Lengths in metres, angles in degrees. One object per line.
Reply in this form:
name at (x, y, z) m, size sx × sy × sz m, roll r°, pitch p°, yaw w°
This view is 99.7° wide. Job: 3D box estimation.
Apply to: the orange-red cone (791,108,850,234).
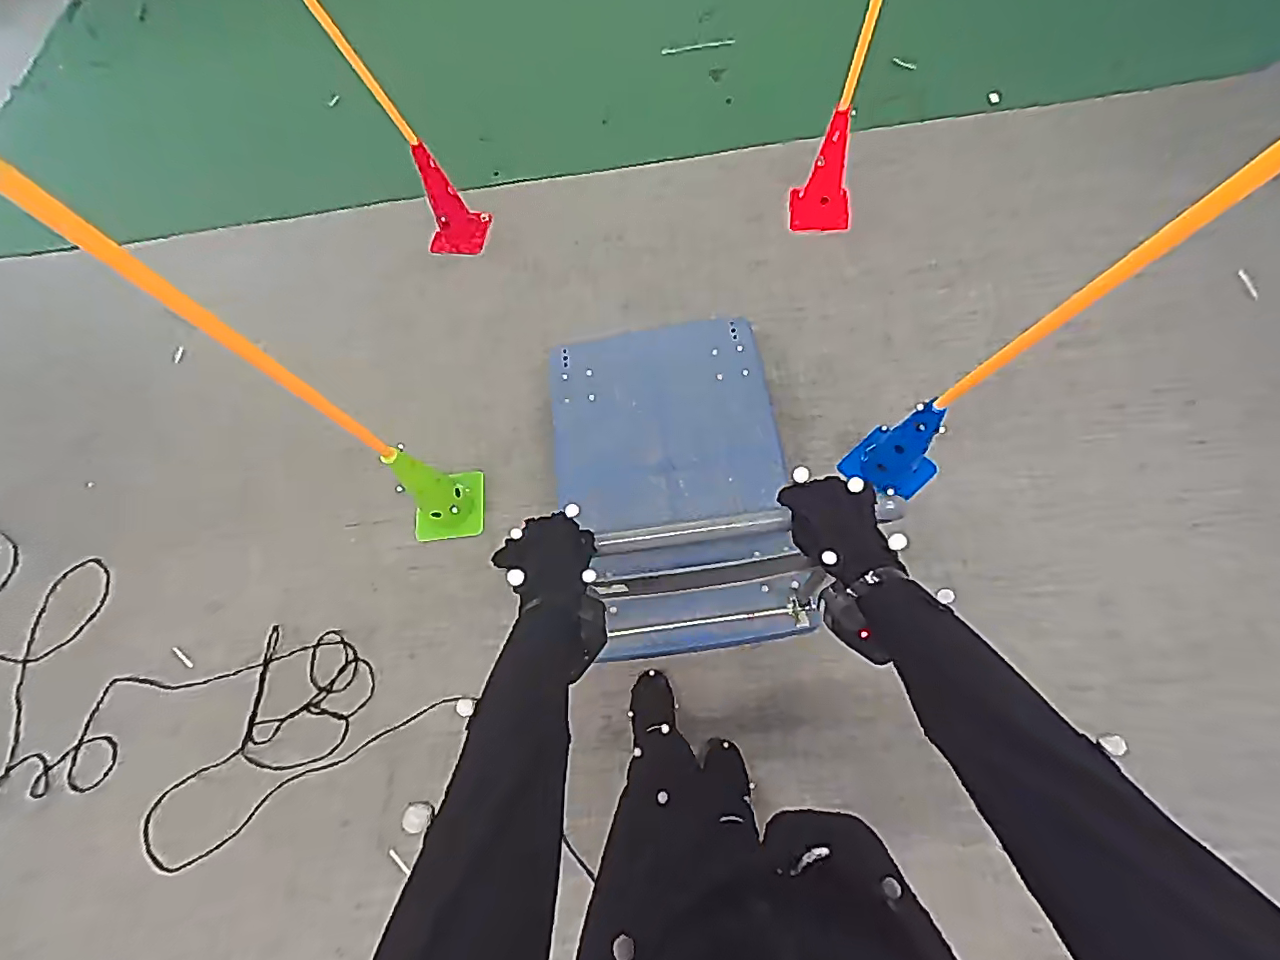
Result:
orange-red cone at (0.603, -0.989, 1.712) m, size 0.198 × 0.360 × 0.199 m, roll 4°, pitch 69°, yaw 9°
